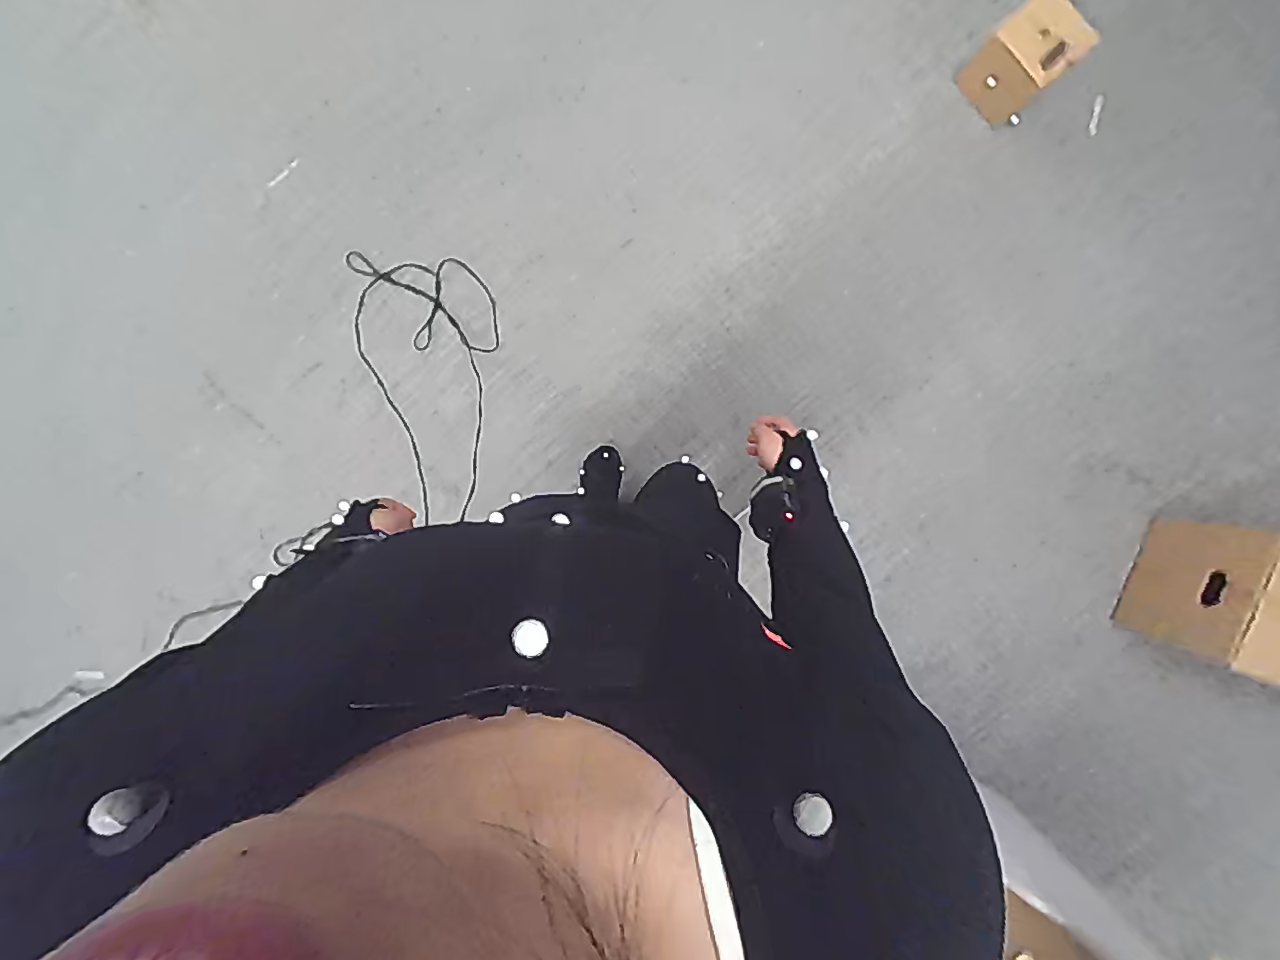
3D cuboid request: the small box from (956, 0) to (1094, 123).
[{"bbox_3d":[0.922,-1.014,1.312,0.168,0.176,0.179,-39,91,4],"label":"small box"}]
